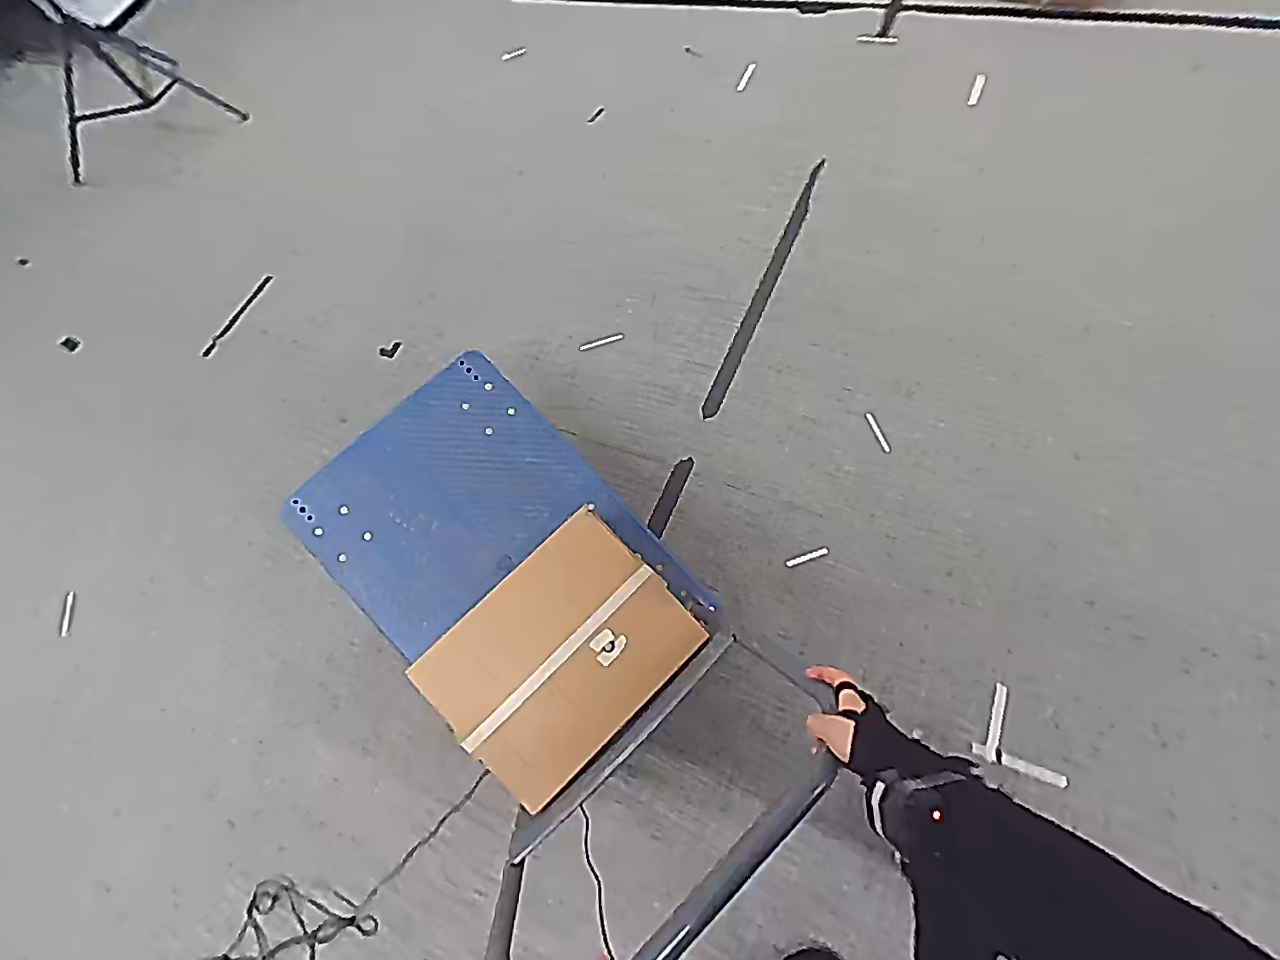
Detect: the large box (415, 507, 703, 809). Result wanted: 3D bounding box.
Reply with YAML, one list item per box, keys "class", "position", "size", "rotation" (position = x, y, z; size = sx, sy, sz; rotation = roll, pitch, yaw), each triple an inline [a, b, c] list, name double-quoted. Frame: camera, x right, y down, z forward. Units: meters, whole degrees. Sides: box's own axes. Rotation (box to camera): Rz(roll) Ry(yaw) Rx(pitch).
- class: "large box"
  position: [-0.143, 0.315, 1.058]
  size: [0.408, 0.320, 0.320]
  rotation: [-44, 87, -10]
